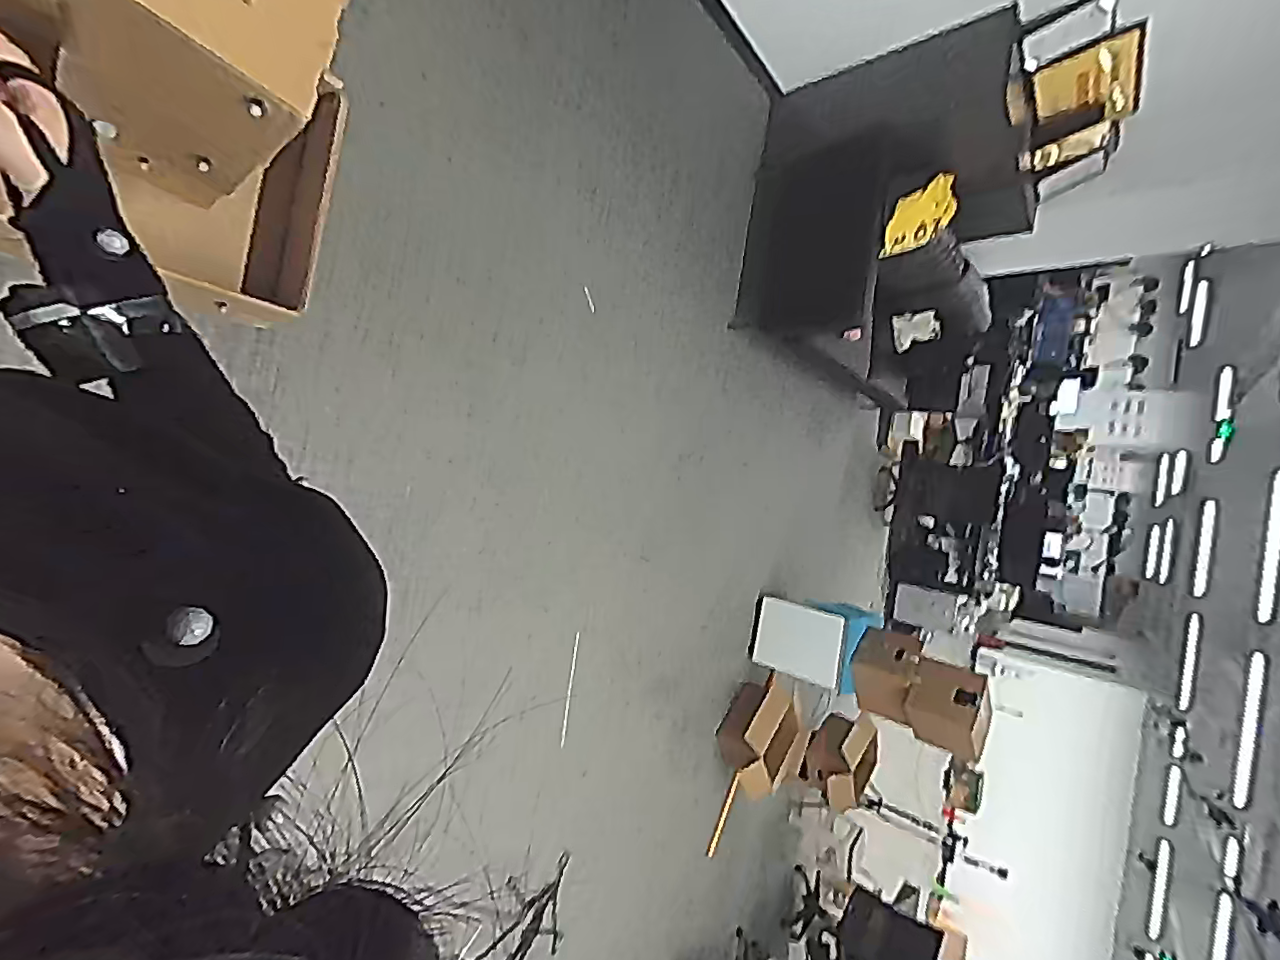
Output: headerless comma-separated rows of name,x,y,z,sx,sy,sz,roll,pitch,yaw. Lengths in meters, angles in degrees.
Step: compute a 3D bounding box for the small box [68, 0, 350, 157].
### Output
small box,-0.435,-0.470,0.550,0.179,0.176,0.168,21,80,-49
